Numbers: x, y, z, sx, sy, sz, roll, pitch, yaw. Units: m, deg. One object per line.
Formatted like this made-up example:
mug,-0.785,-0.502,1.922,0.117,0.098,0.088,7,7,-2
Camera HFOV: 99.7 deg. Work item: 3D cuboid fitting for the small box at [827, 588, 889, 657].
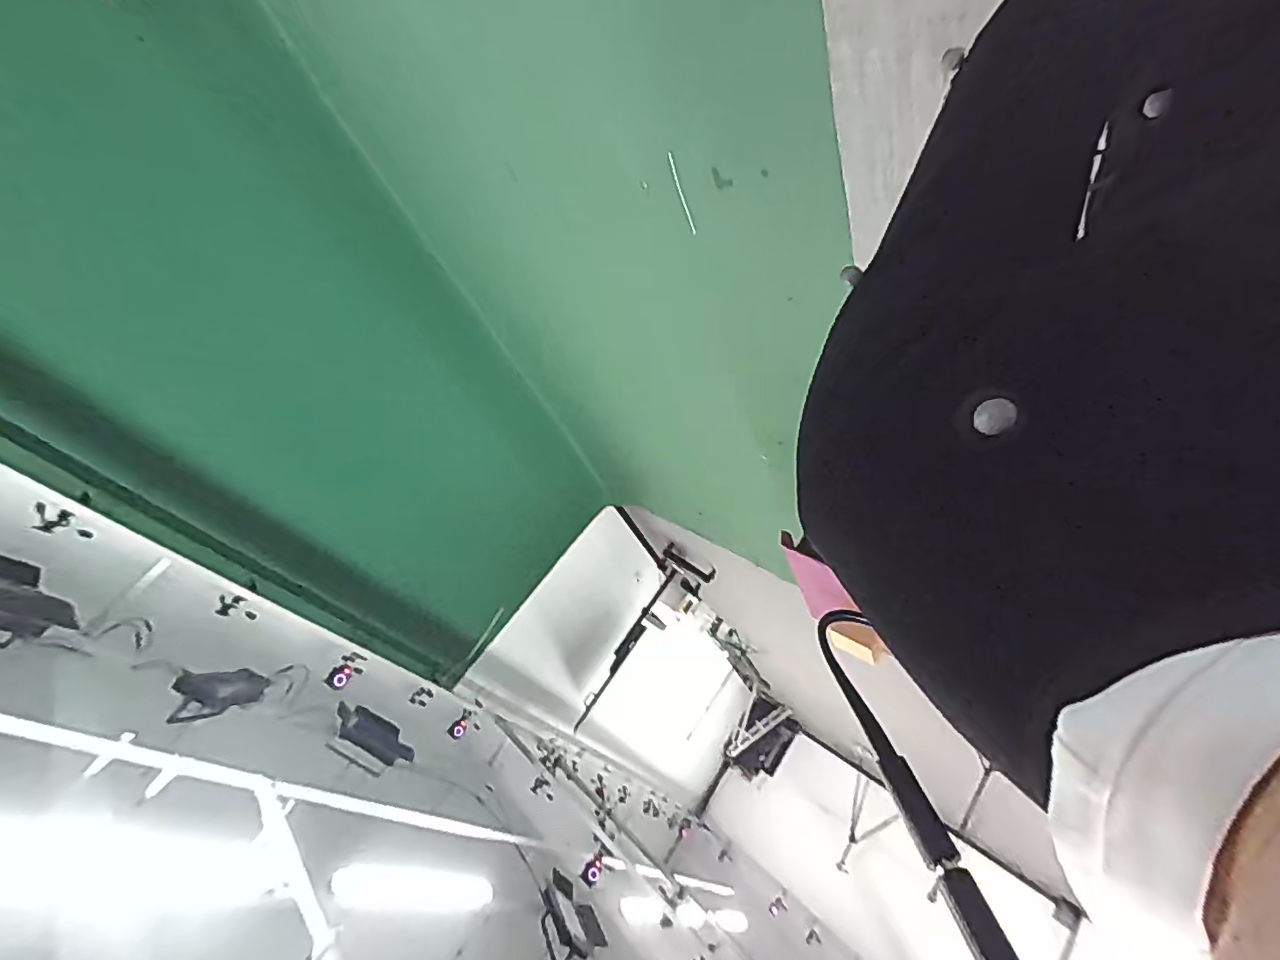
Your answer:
small box,0.847,0.546,2.084,0.168,0.176,0.179,23,157,37
